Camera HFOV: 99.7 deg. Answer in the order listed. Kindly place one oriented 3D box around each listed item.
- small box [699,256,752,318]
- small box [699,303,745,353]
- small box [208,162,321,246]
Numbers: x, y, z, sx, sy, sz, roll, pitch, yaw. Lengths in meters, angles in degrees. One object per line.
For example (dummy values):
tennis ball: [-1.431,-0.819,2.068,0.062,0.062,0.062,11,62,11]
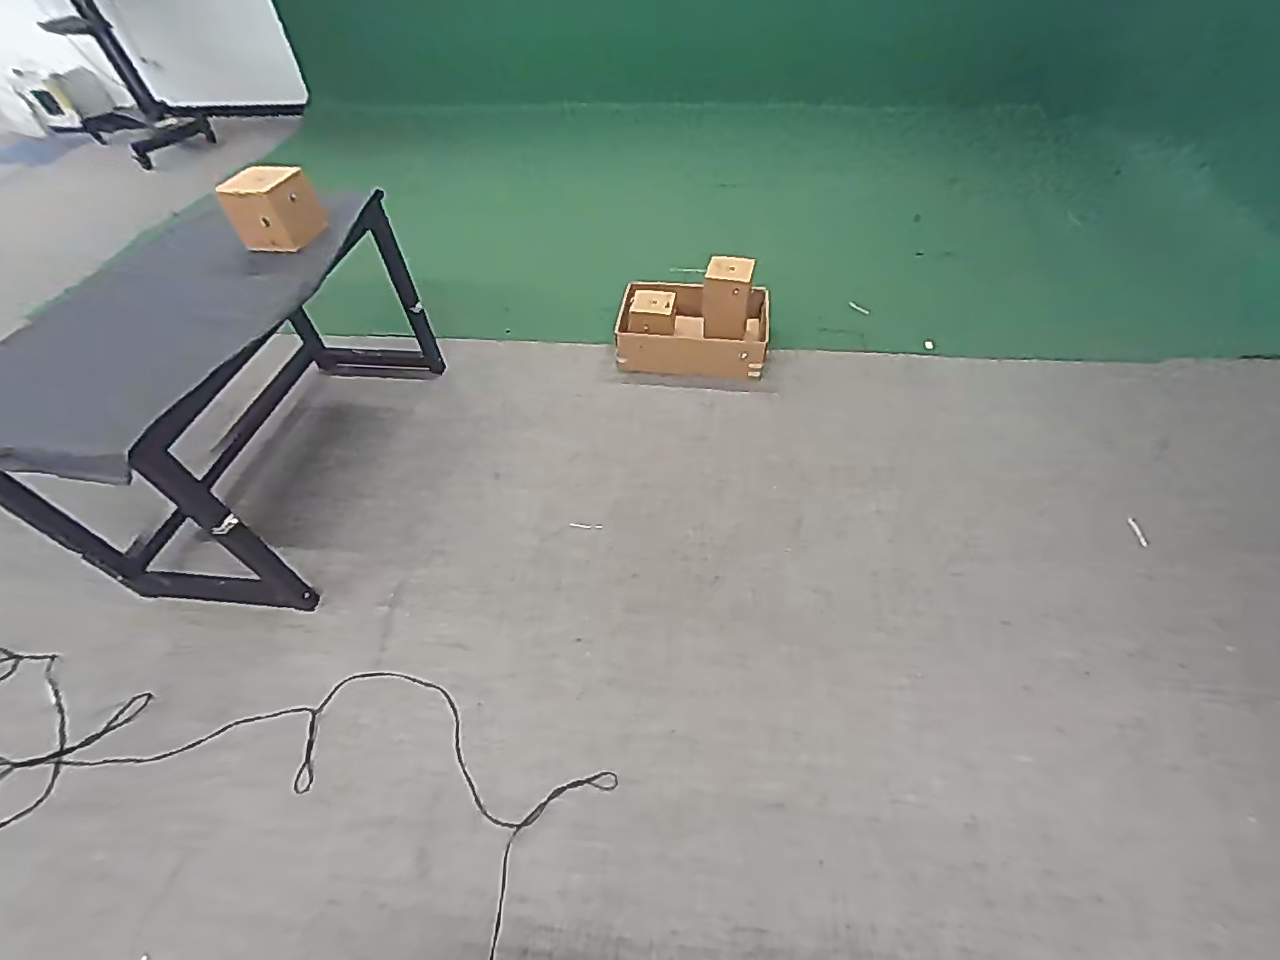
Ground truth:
small box: [0.339,-0.767,2.158,0.179,0.176,0.168,11,52,11]
small box: [0.344,-0.666,2.288,0.168,0.176,0.179,10,53,11]
small box: [-1.060,-0.788,1.548,0.168,0.176,0.179,7,50,7]
